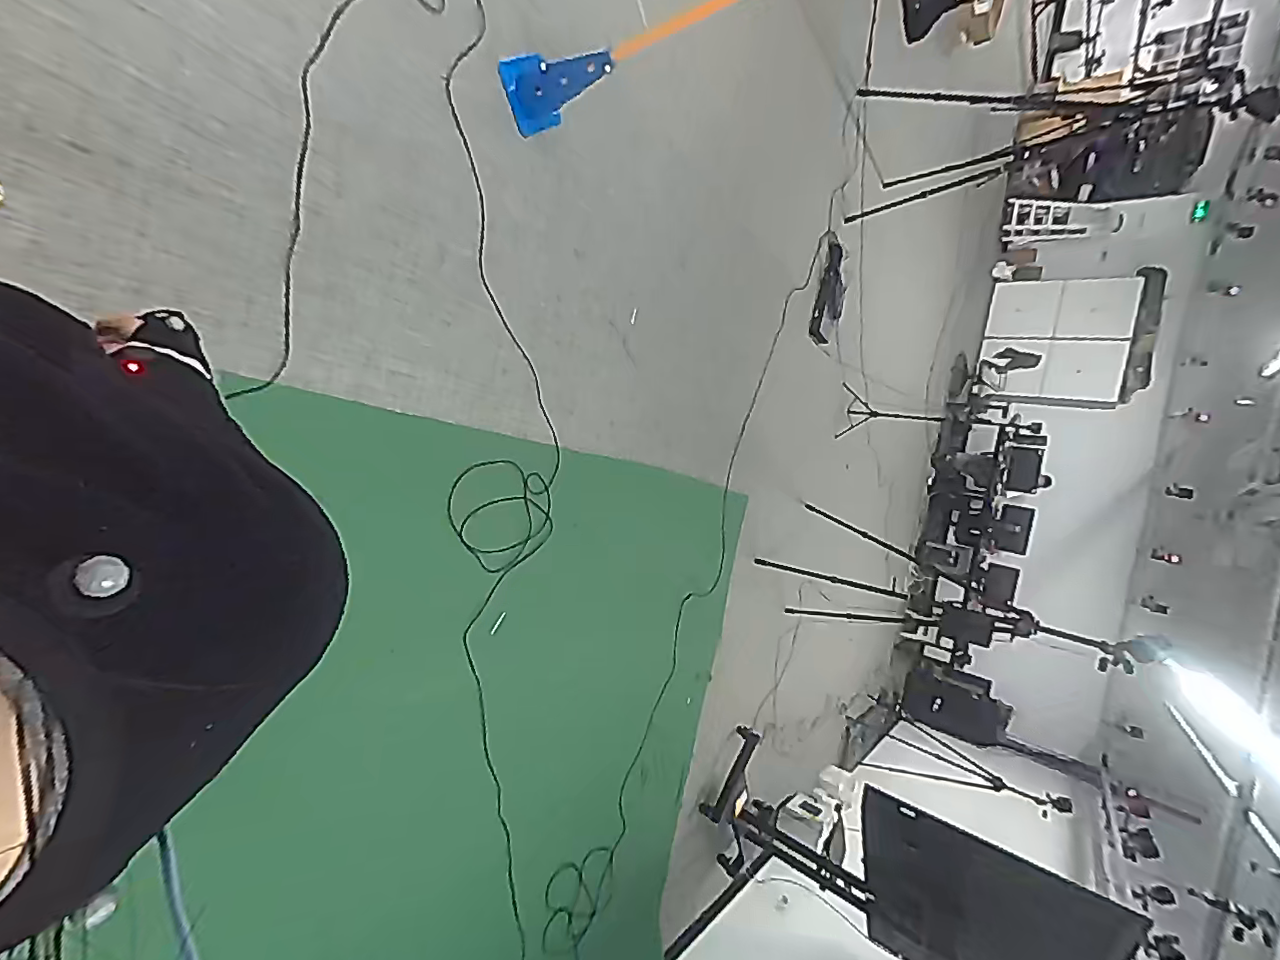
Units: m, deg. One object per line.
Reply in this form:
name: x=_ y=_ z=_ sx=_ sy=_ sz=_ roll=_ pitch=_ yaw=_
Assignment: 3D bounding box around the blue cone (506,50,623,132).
blue cone: x=-0.206 y=-1.215 z=1.622 sx=0.193 sy=0.380 sz=0.192 roll=-50 pitch=133 yaw=-34
